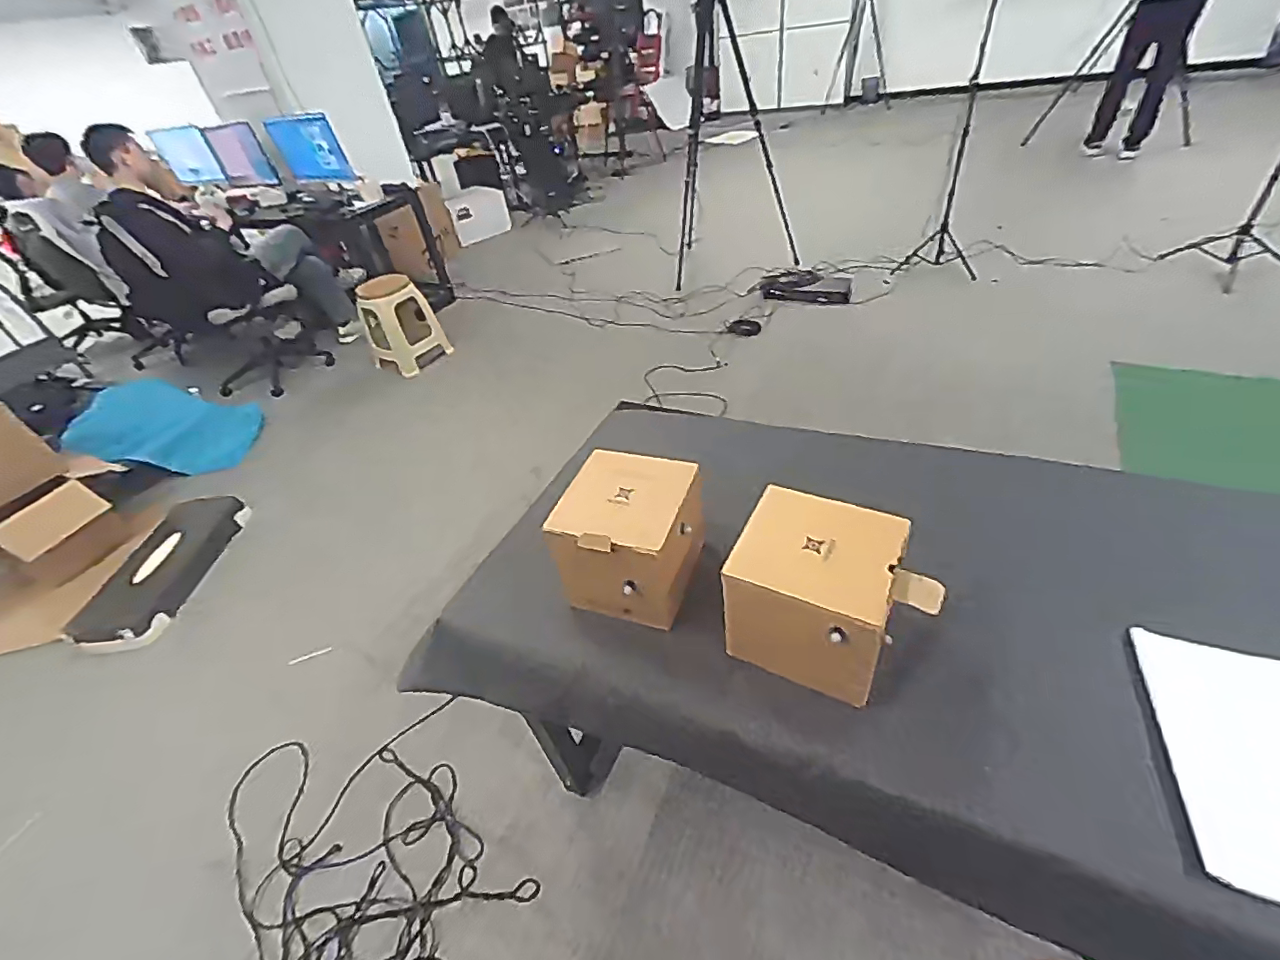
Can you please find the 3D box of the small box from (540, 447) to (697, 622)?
[{"bbox_3d":[-0.017,0.078,0.785,0.168,0.176,0.179,9,43,19],"label":"small box"}]

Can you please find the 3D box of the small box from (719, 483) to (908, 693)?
[{"bbox_3d":[0.212,0.133,0.675,0.179,0.176,0.168,16,46,26],"label":"small box"}]
